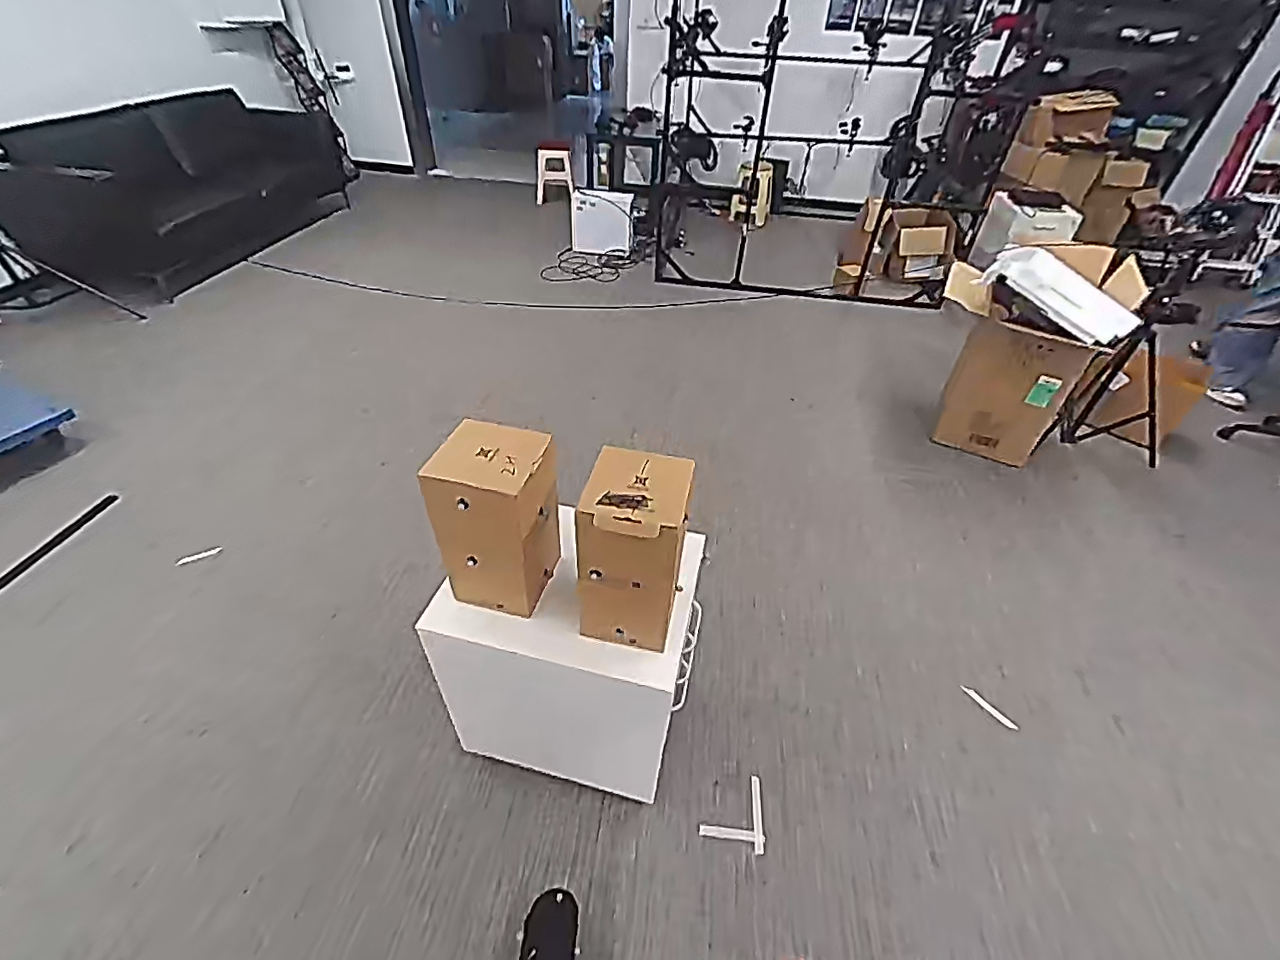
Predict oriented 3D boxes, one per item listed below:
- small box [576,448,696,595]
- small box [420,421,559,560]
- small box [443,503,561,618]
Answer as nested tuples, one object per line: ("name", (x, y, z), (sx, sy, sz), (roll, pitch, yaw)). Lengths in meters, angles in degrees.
("small box", (-0.003, 0.072, 0.927), (0.168, 0.176, 0.179), (10, 41, 8))
("small box", (-0.256, 0.020, 0.965), (0.179, 0.176, 0.168), (12, 43, 9))
("small box", (-0.264, 0.142, 1.077), (0.168, 0.176, 0.179), (12, 41, 10))
